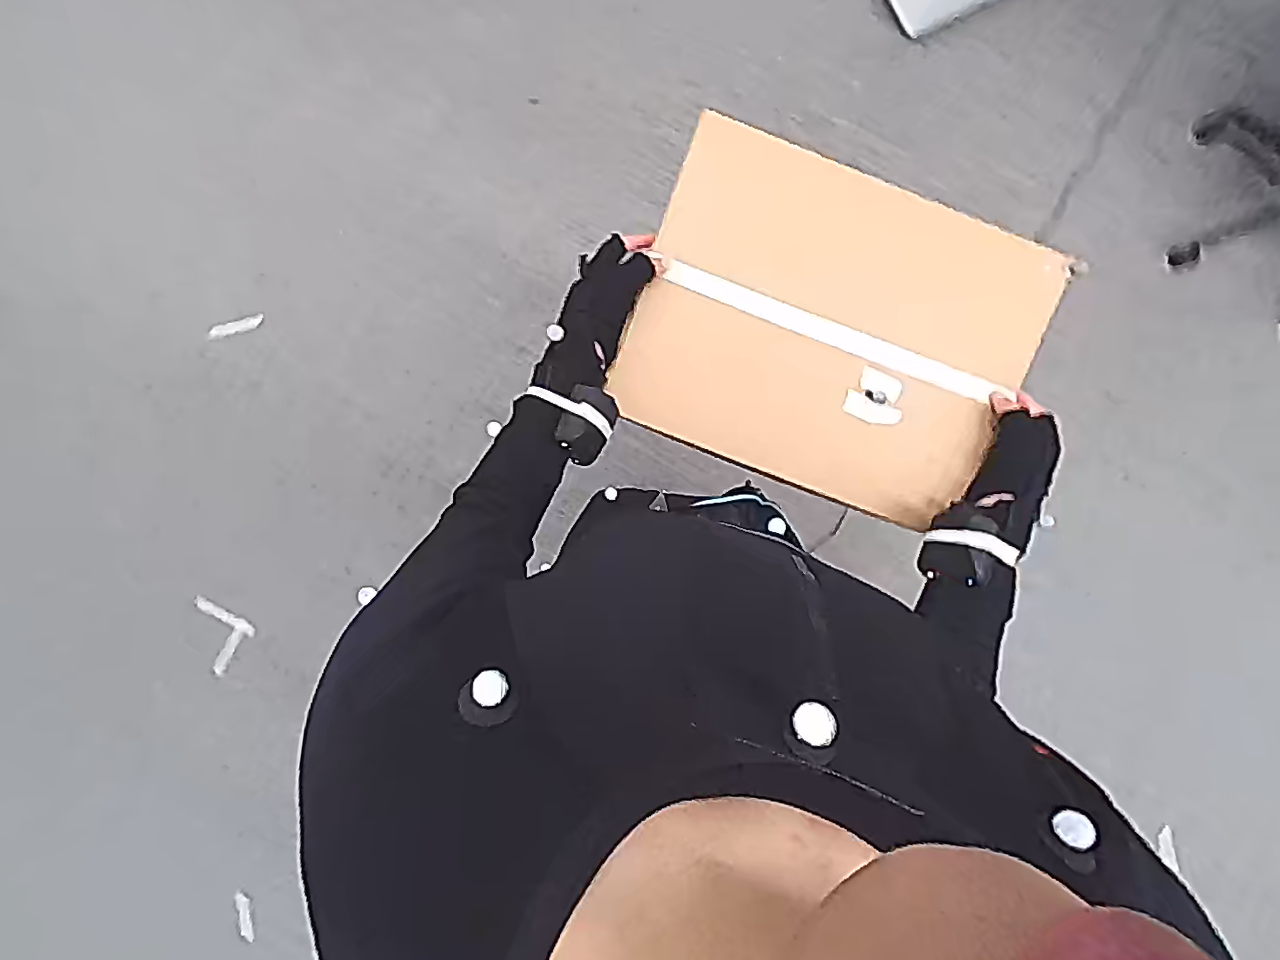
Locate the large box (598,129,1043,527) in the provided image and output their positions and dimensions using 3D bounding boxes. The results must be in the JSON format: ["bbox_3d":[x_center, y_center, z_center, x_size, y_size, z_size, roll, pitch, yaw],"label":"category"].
[{"bbox_3d":[0.186,-0.168,0.721,0.408,0.320,0.320,21,96,-3],"label":"large box"}]
